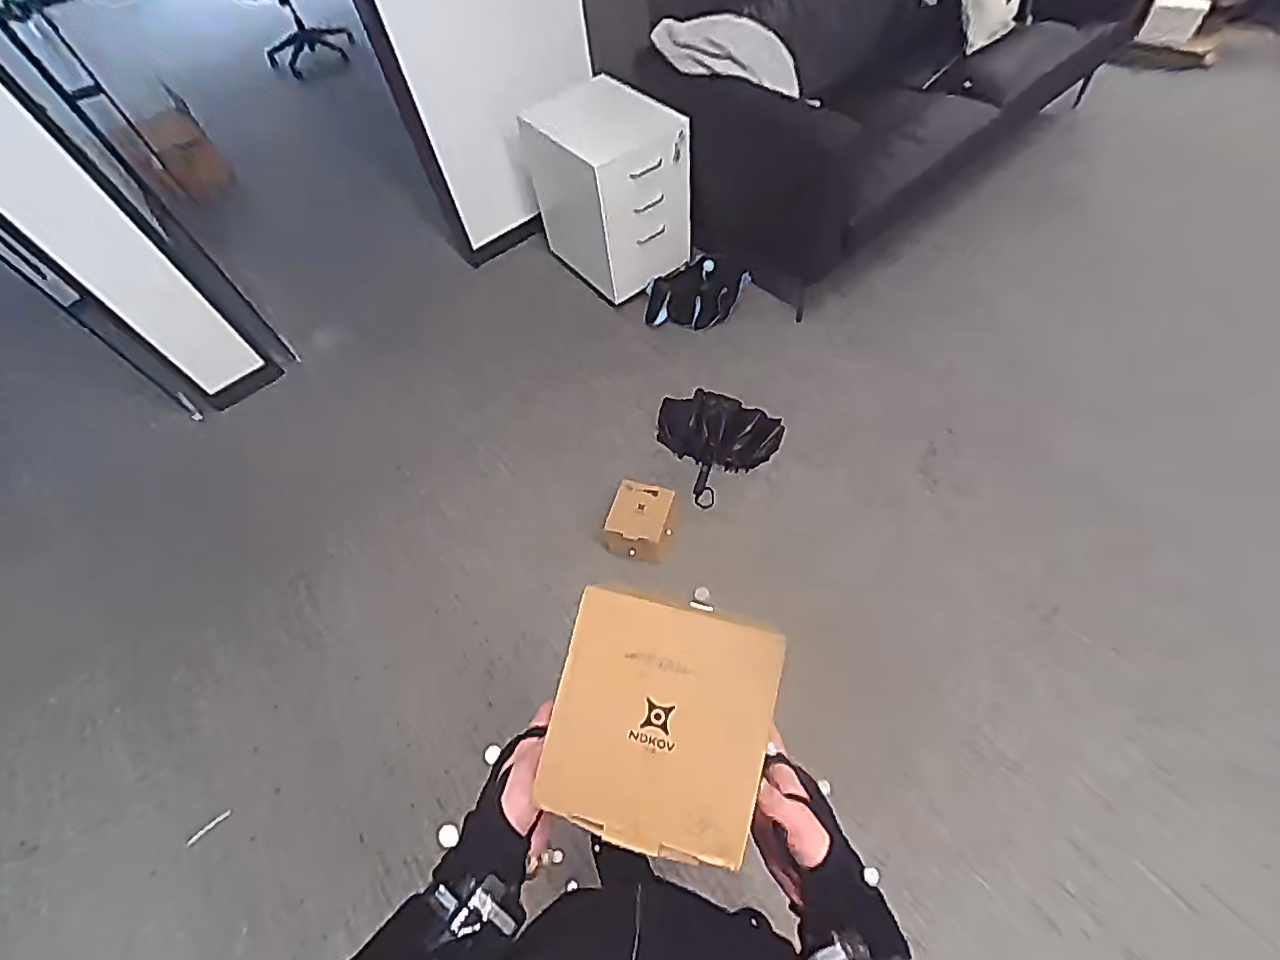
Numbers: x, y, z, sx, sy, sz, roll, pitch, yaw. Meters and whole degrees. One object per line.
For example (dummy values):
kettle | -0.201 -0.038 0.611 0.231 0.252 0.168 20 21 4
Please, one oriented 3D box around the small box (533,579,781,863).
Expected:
small box | 0.022 0.196 0.499 0.168 0.176 0.179 12 82 7
